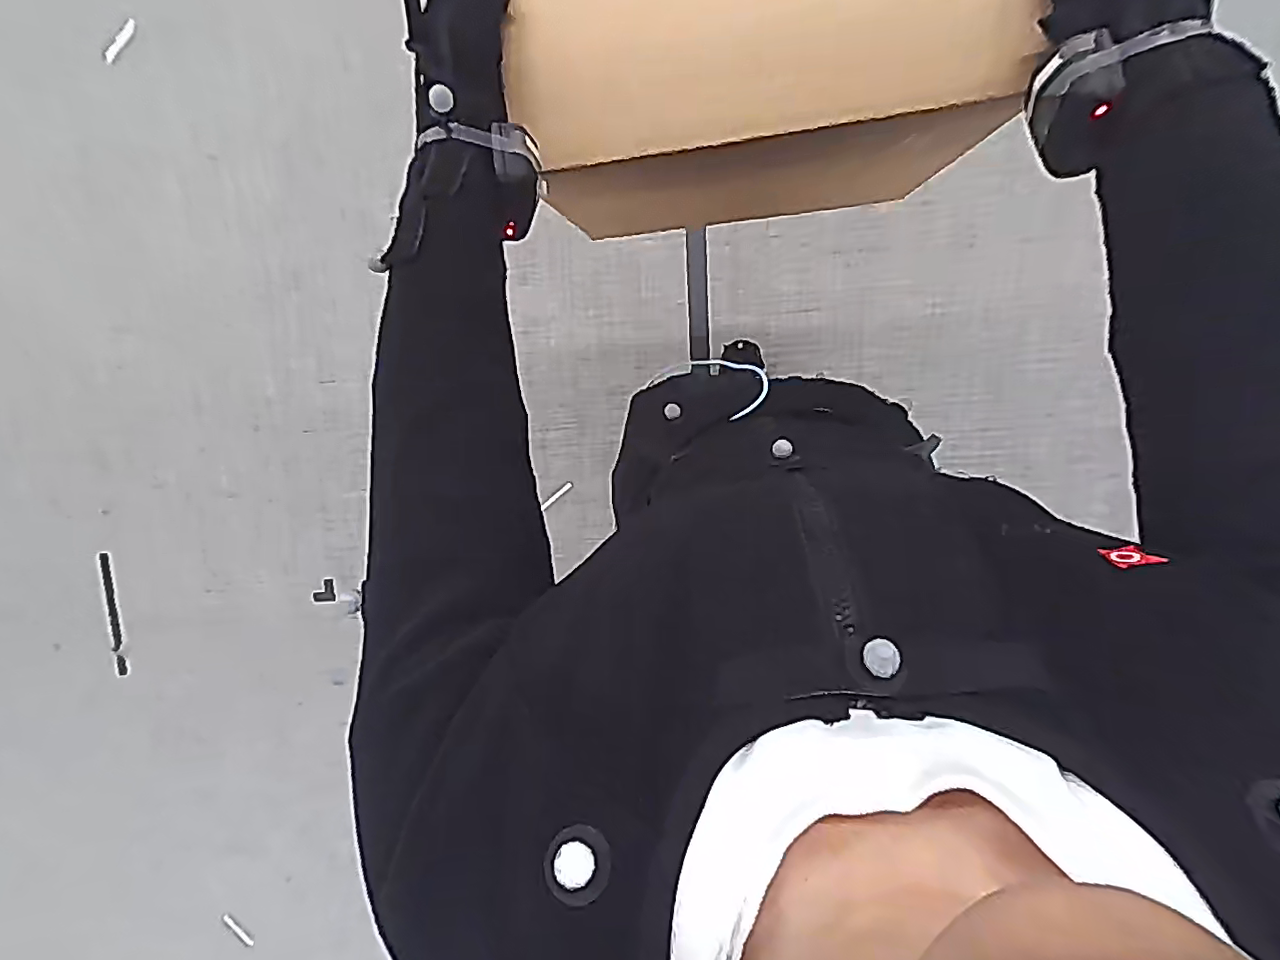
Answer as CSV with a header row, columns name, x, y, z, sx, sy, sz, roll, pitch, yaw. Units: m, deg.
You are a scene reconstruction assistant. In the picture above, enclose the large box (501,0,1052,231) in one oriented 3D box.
name,x,y,z,sx,sy,sz,roll,pitch,yaw
large box,0.097,-0.462,0.525,0.408,0.320,0.320,-5,105,8
